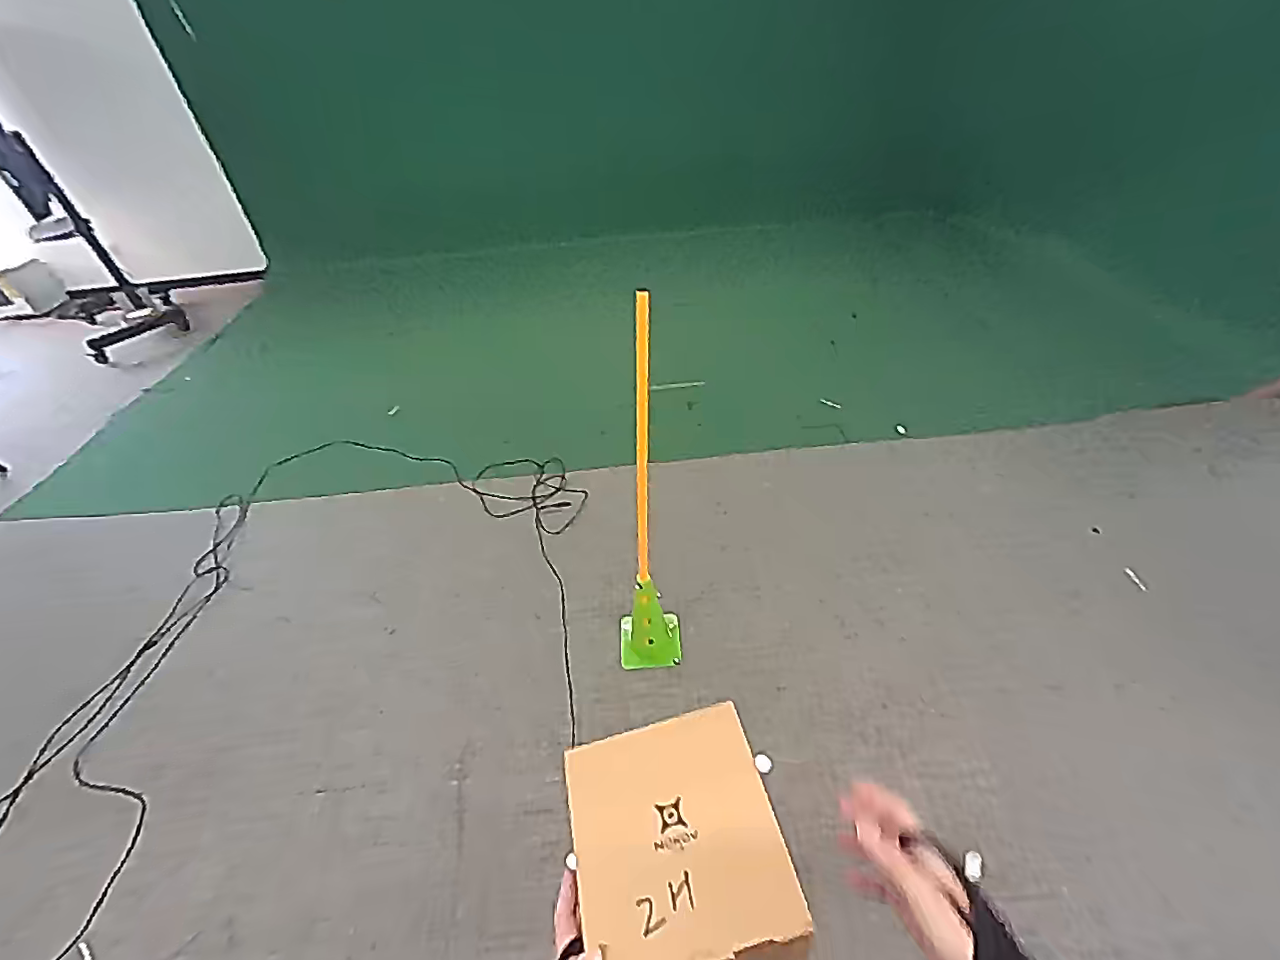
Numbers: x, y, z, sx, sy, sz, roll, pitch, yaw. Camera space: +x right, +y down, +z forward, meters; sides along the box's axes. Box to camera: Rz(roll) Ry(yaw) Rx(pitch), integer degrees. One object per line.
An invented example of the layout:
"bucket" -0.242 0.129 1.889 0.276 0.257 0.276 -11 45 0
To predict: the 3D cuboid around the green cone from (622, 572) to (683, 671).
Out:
"green cone" 0.022 0.418 1.715 0.202 0.368 0.200 -5 40 2
